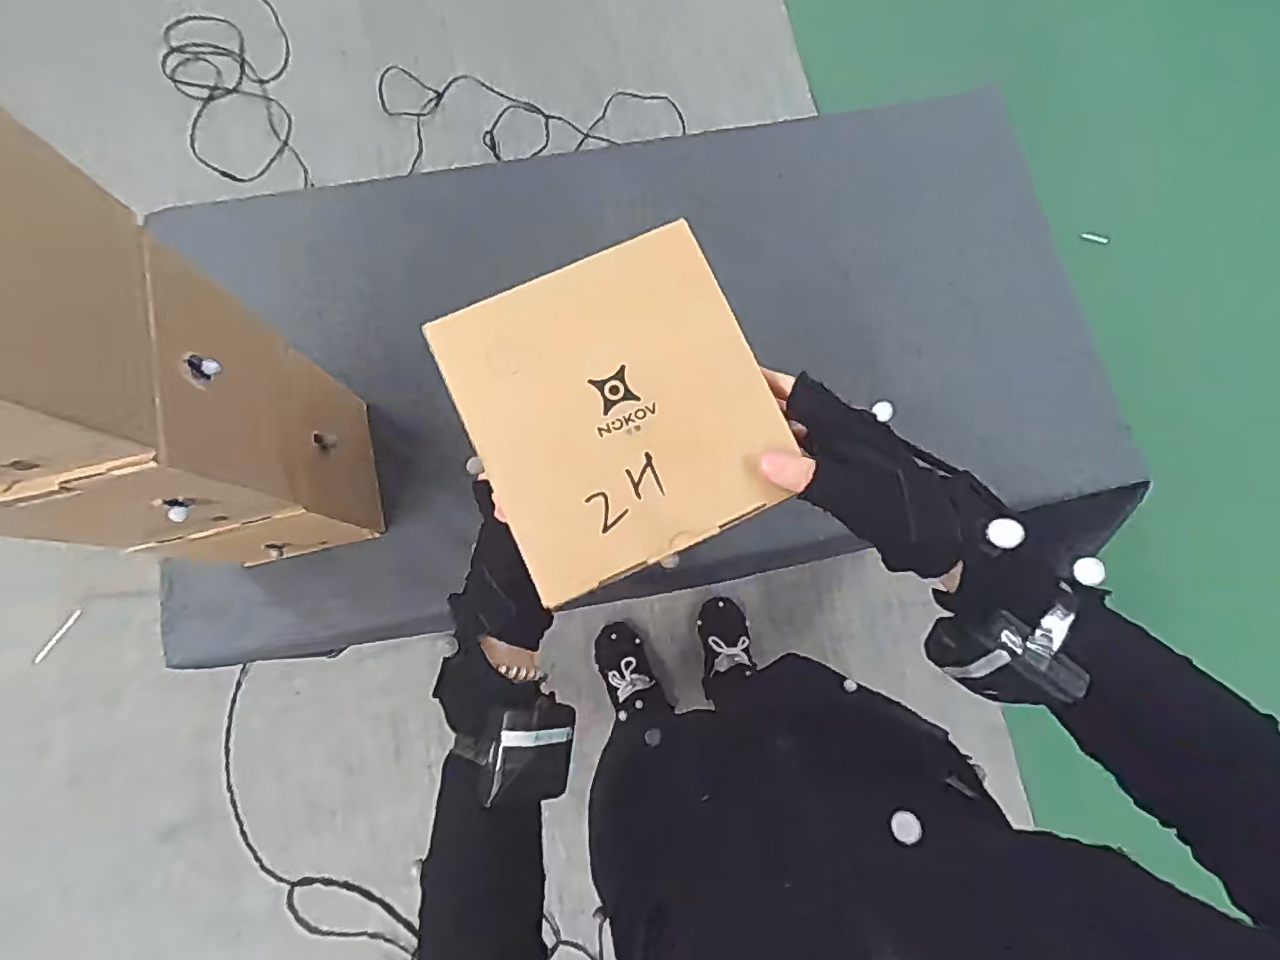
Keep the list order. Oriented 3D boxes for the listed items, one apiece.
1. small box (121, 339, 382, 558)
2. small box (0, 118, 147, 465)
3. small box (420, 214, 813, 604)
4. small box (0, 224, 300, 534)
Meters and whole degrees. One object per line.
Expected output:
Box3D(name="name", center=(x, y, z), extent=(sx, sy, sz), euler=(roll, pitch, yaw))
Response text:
Box3D(name="small box", center=(-0.403, -0.022, 0.583), extent=(0.168, 0.176, 0.179), euler=(-13, 79, -4))
Box3D(name="small box", center=(-0.395, -0.101, 0.265), extent=(0.168, 0.176, 0.179), euler=(-14, 78, -6))
Box3D(name="small box", center=(-0.017, -0.034, 0.374), extent=(0.168, 0.176, 0.179), euler=(-25, 86, -4))
Box3D(name="small box", center=(-0.398, -0.059, 0.424), extent=(0.168, 0.176, 0.179), euler=(-12, 78, -5))
